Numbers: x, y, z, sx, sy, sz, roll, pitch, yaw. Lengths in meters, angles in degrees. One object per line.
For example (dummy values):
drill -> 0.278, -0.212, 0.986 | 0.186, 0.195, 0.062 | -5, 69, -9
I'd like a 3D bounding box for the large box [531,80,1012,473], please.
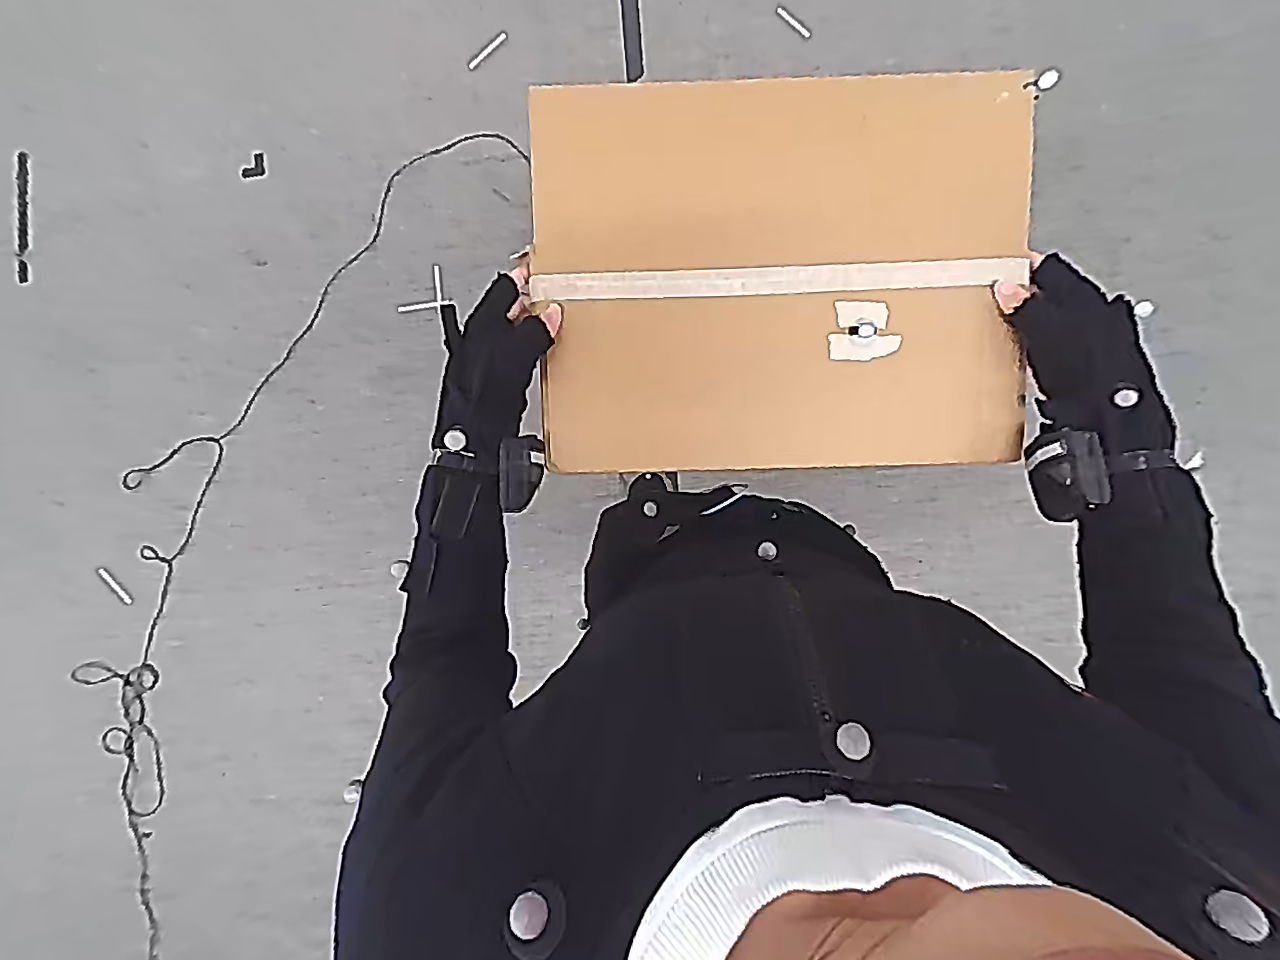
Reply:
large box -> 0.113, -0.182, 0.608 | 0.408, 0.320, 0.320 | -2, 96, 0
